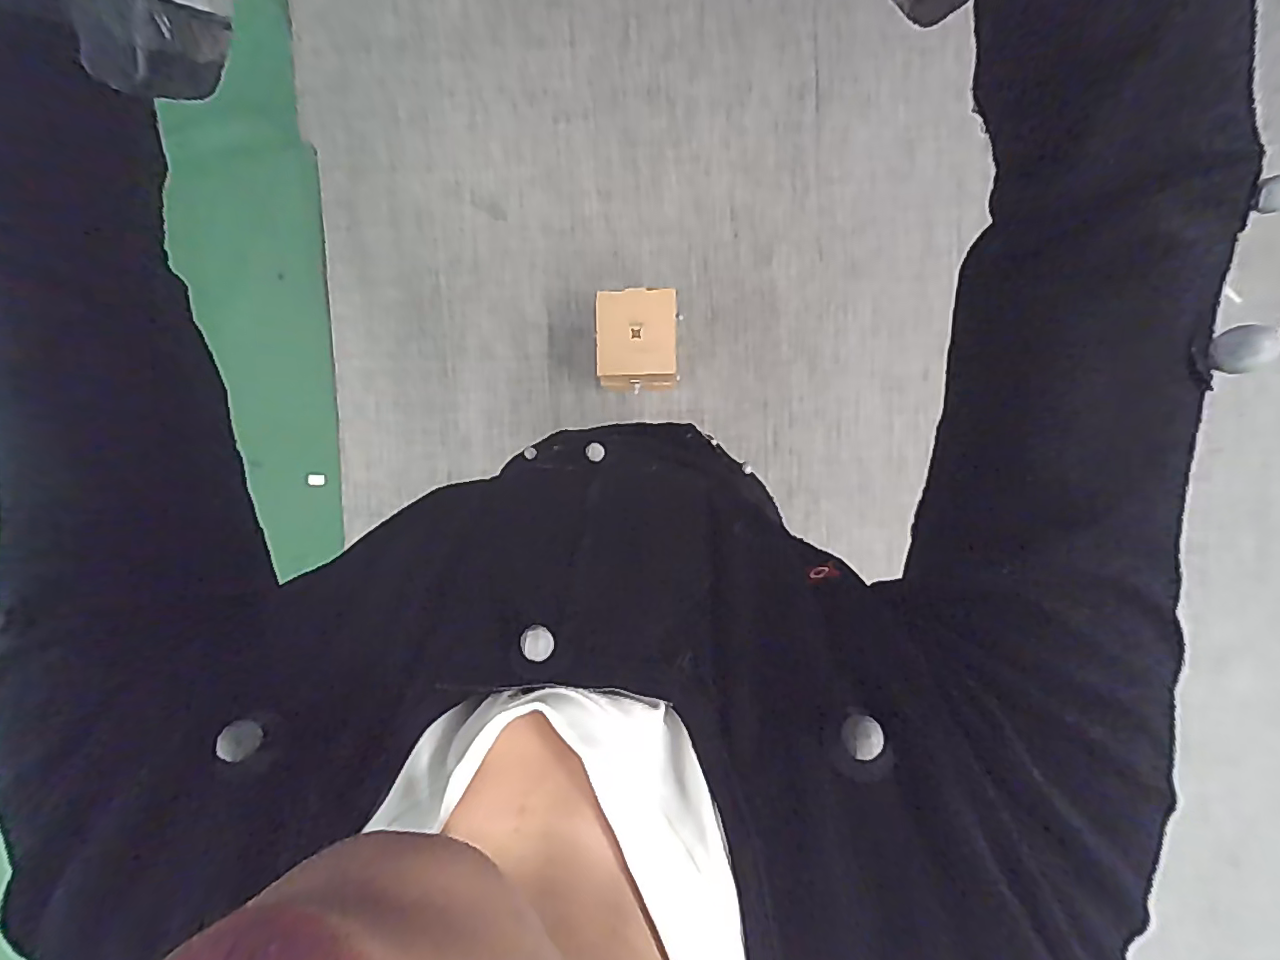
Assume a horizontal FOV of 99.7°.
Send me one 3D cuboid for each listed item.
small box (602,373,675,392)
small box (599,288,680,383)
[{"bbox_3d":[0.002,-0.314,1.363,0.179,0.176,0.168,0,93,6],"label":"small box"},{"bbox_3d":[0.003,-0.314,1.202,0.168,0.176,0.179,-1,94,6],"label":"small box"}]
